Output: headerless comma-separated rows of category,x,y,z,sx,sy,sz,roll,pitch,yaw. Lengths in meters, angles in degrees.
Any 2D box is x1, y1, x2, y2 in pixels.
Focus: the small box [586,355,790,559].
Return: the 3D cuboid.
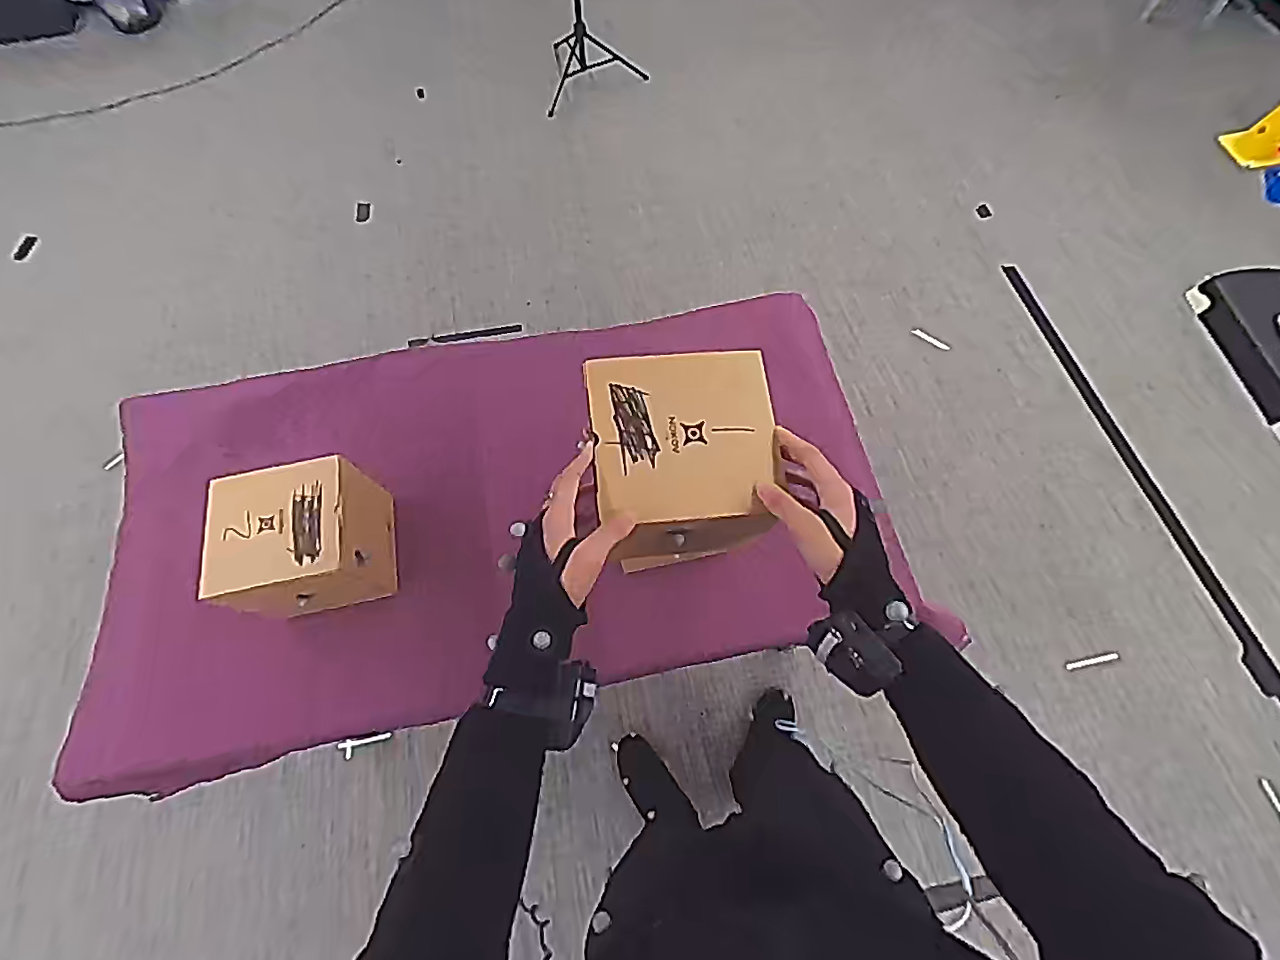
small box,0.037,-0.015,0.577,0.179,0.176,0.168,-4,72,-6
